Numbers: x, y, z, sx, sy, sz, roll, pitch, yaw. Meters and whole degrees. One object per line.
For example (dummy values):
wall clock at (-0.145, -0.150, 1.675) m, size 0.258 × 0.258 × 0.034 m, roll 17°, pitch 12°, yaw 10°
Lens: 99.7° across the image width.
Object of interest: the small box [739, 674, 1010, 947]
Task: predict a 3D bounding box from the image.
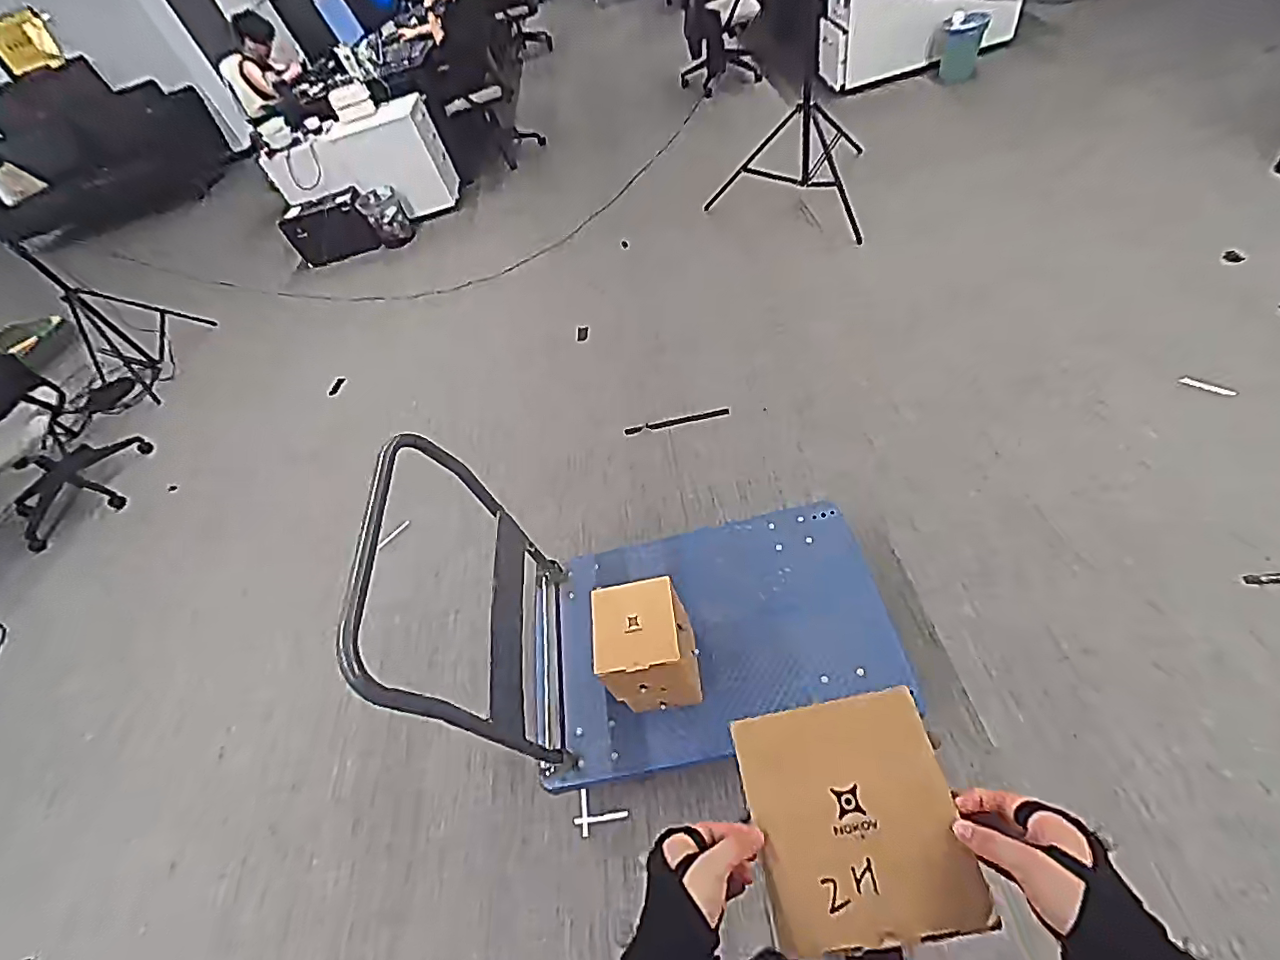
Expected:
small box at (0.201, 0.305, 0.516) m, size 0.168 × 0.176 × 0.179 m, roll -16°, pitch 58°, yaw 8°

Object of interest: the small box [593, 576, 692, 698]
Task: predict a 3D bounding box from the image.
small box at (0.005, 0.322, 1.100) m, size 0.168 × 0.176 × 0.179 m, roll -12°, pitch 52°, yaw 7°
